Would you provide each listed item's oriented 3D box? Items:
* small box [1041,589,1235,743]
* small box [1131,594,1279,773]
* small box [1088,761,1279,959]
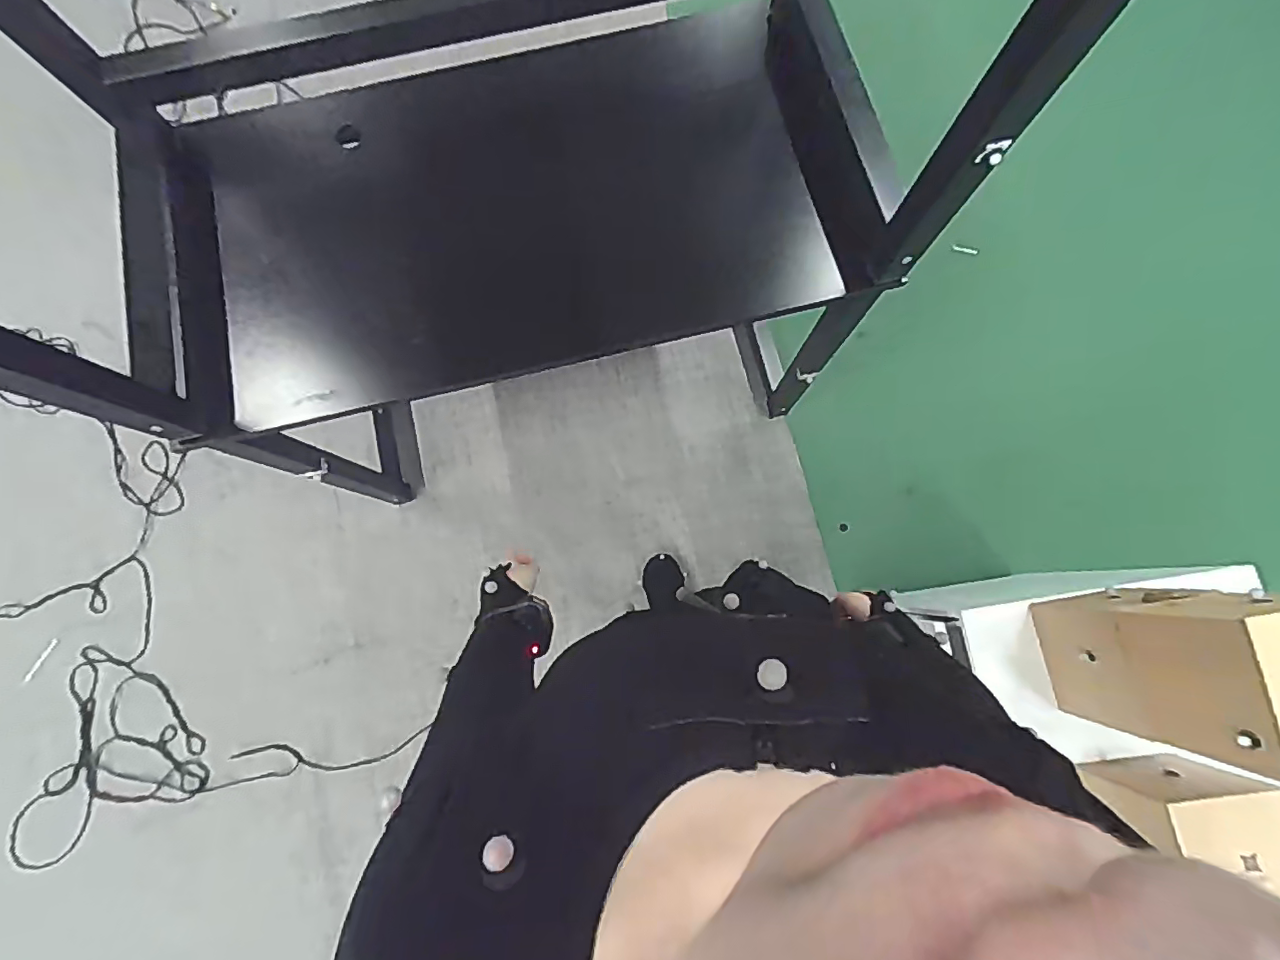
[{"bbox_3d":[0.742,0.261,0.795,0.168,0.176,0.179,-10,79,0],"label":"small box"},{"bbox_3d":[0.740,0.231,0.634,0.168,0.176,0.179,-9,81,-1],"label":"small box"},{"bbox_3d":[0.774,0.504,0.745,0.168,0.176,0.179,-7,78,1],"label":"small box"}]
